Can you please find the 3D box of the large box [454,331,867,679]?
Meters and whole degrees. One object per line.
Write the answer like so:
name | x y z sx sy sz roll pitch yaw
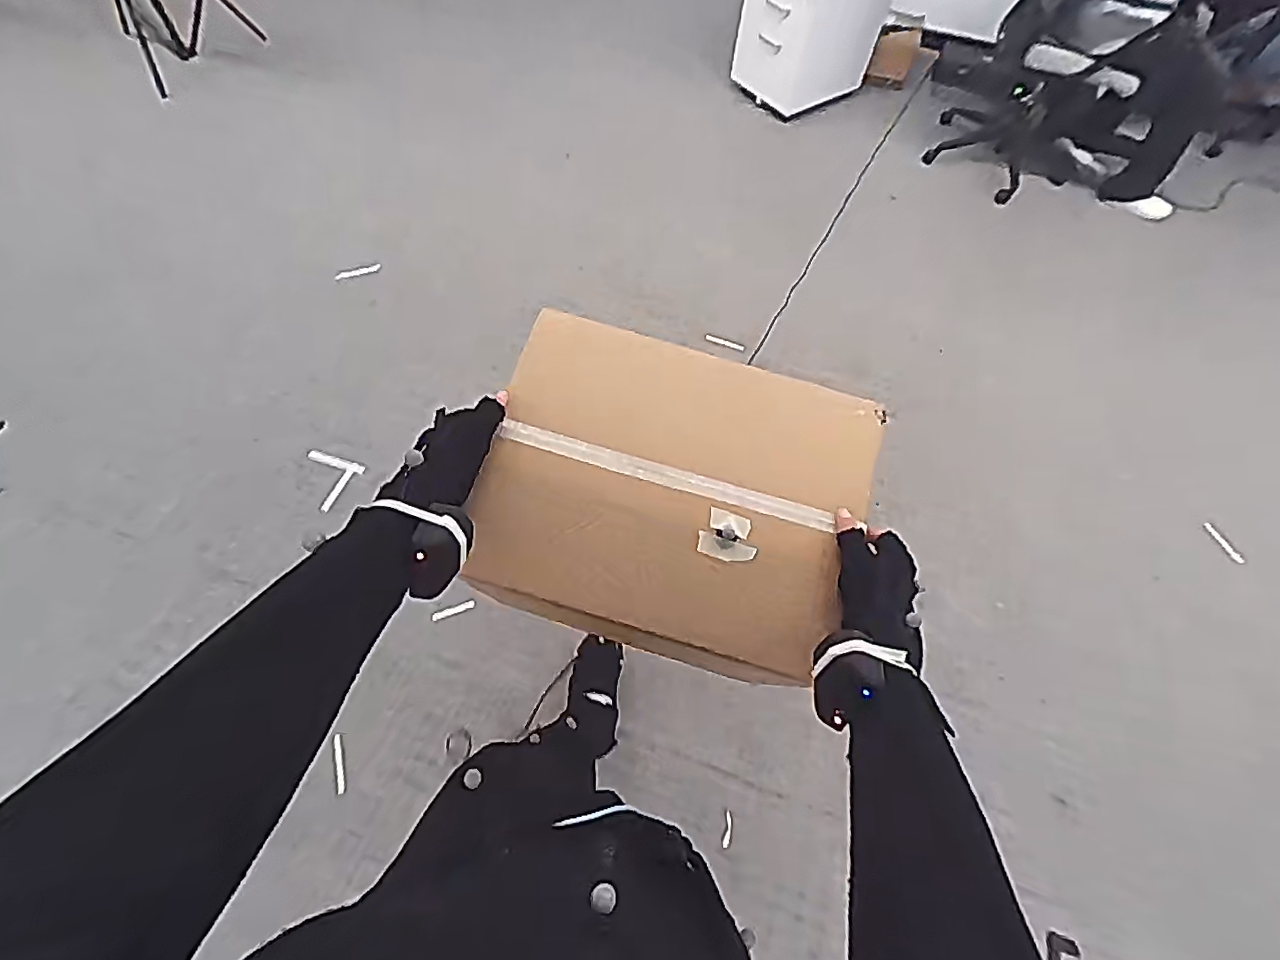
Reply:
large box | 0.027 0.058 0.731 0.408 0.320 0.320 17 71 2
